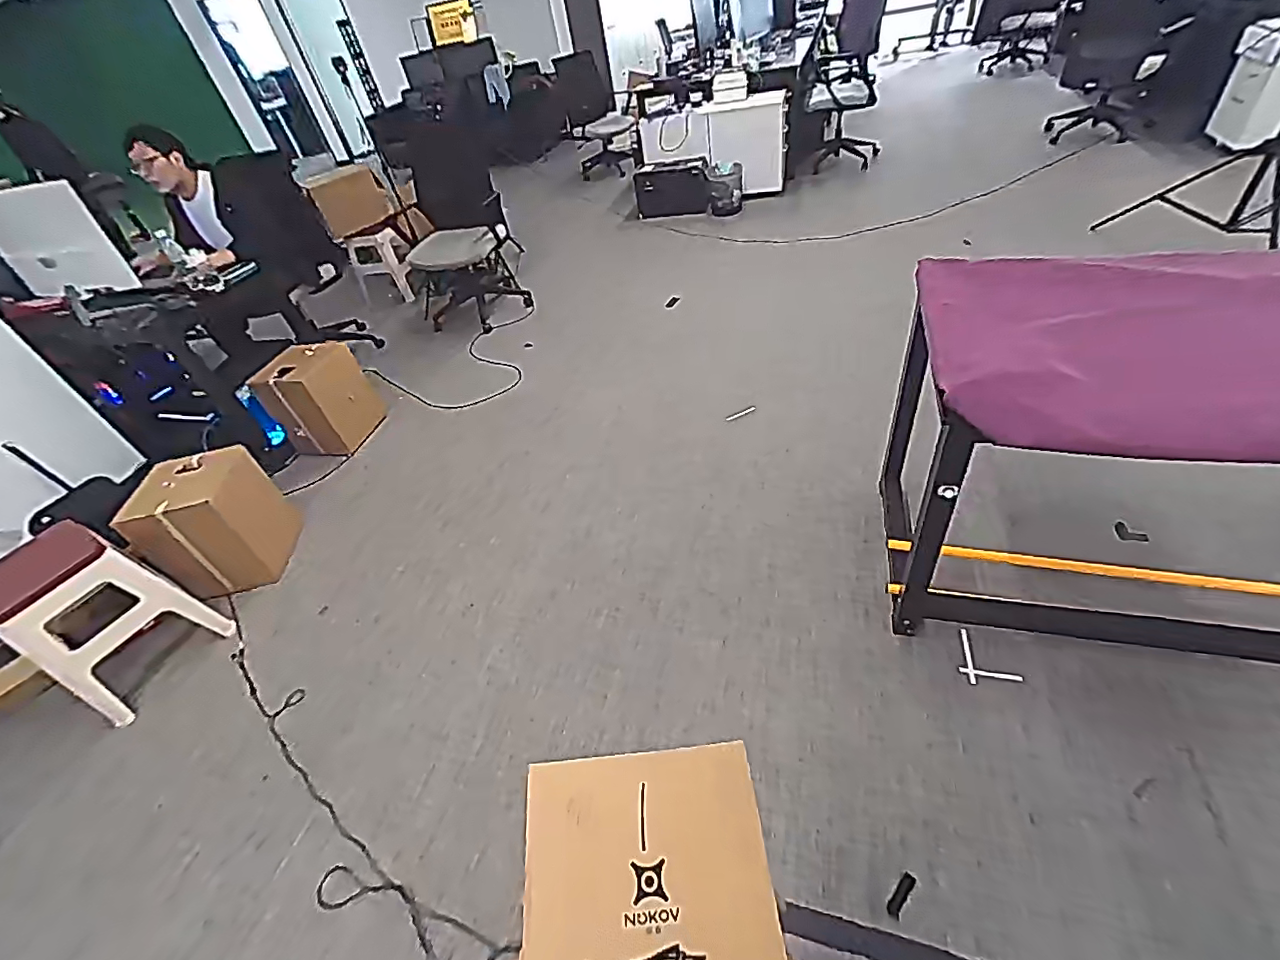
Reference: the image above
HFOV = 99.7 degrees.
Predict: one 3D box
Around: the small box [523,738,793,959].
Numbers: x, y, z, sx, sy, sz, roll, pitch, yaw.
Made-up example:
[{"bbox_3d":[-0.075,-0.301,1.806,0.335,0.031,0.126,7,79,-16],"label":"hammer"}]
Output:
[{"bbox_3d":[0.011,0.313,0.407,0.168,0.176,0.179,-5,51,-2],"label":"small box"}]
